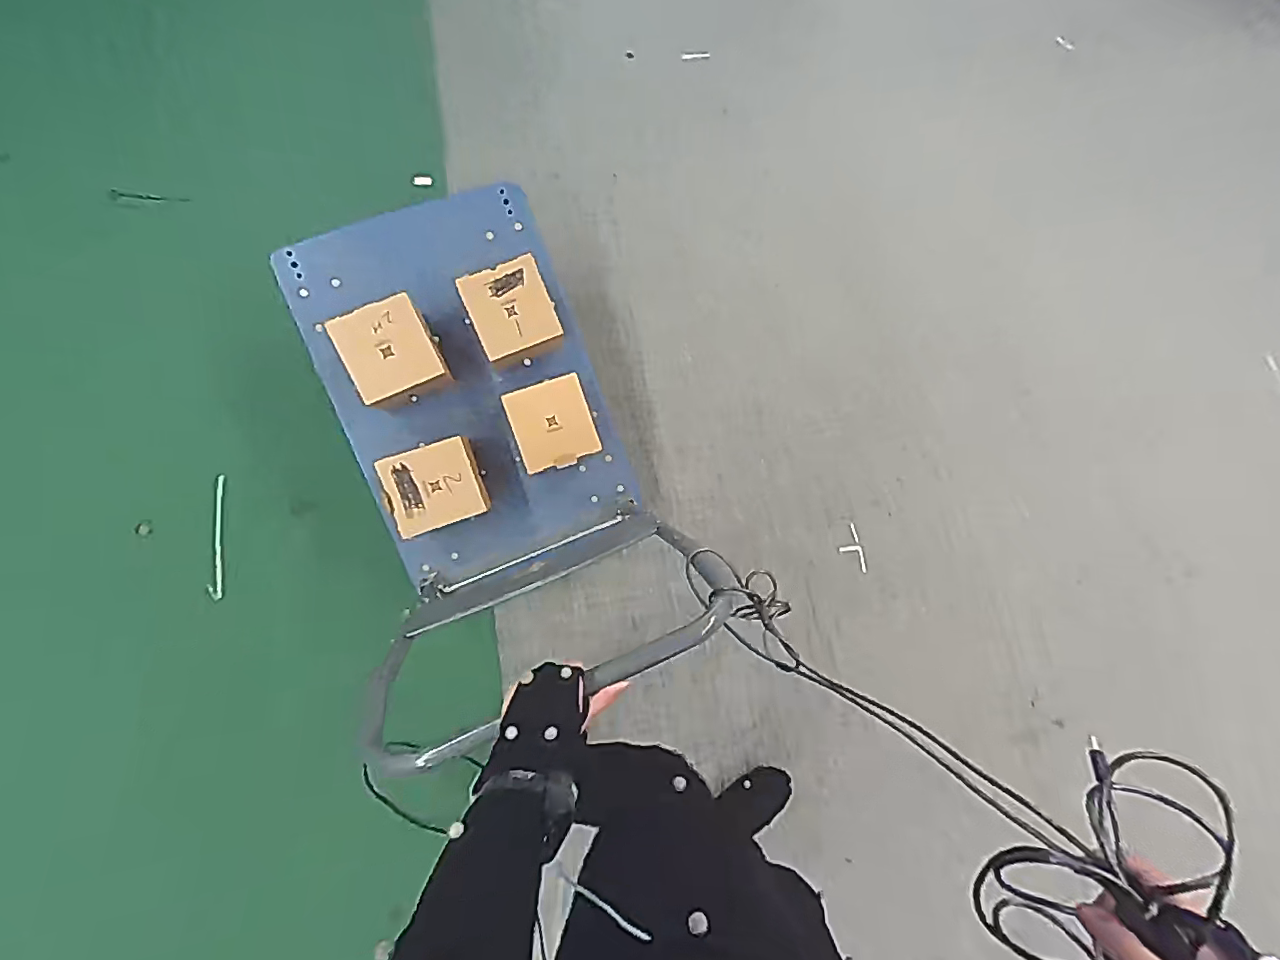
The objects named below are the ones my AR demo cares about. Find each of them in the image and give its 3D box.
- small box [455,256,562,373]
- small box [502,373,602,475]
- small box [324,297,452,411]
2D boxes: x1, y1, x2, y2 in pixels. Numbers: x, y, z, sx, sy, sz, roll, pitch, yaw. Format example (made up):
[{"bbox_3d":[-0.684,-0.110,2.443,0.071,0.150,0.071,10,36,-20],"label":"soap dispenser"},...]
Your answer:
[{"bbox_3d":[-0.283,-0.352,1.178,0.168,0.176,0.179,-24,98,-9],"label":"small box"},{"bbox_3d":[-0.199,-0.119,1.207,0.168,0.176,0.179,-21,97,-10],"label":"small box"},{"bbox_3d":[-0.515,-0.254,1.136,0.168,0.176,0.179,-26,97,-10],"label":"small box"}]
